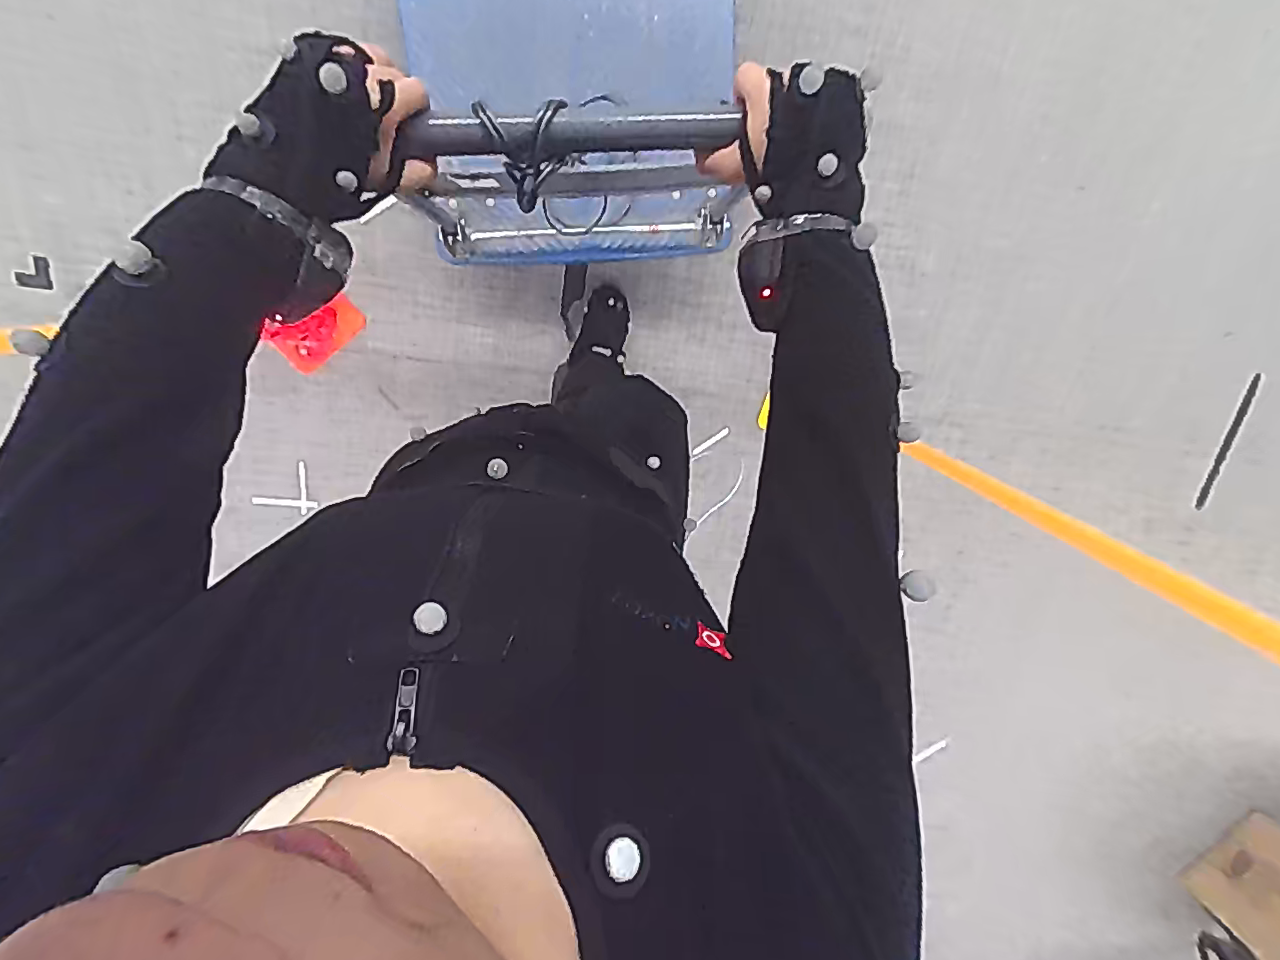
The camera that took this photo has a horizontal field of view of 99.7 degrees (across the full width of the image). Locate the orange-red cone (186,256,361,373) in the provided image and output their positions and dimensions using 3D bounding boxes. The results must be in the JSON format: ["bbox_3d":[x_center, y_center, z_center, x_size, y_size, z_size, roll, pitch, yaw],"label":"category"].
[{"bbox_3d":[-0.730,-0.310,1.033,0.199,0.360,0.198,-37,108,6],"label":"orange-red cone"}]
